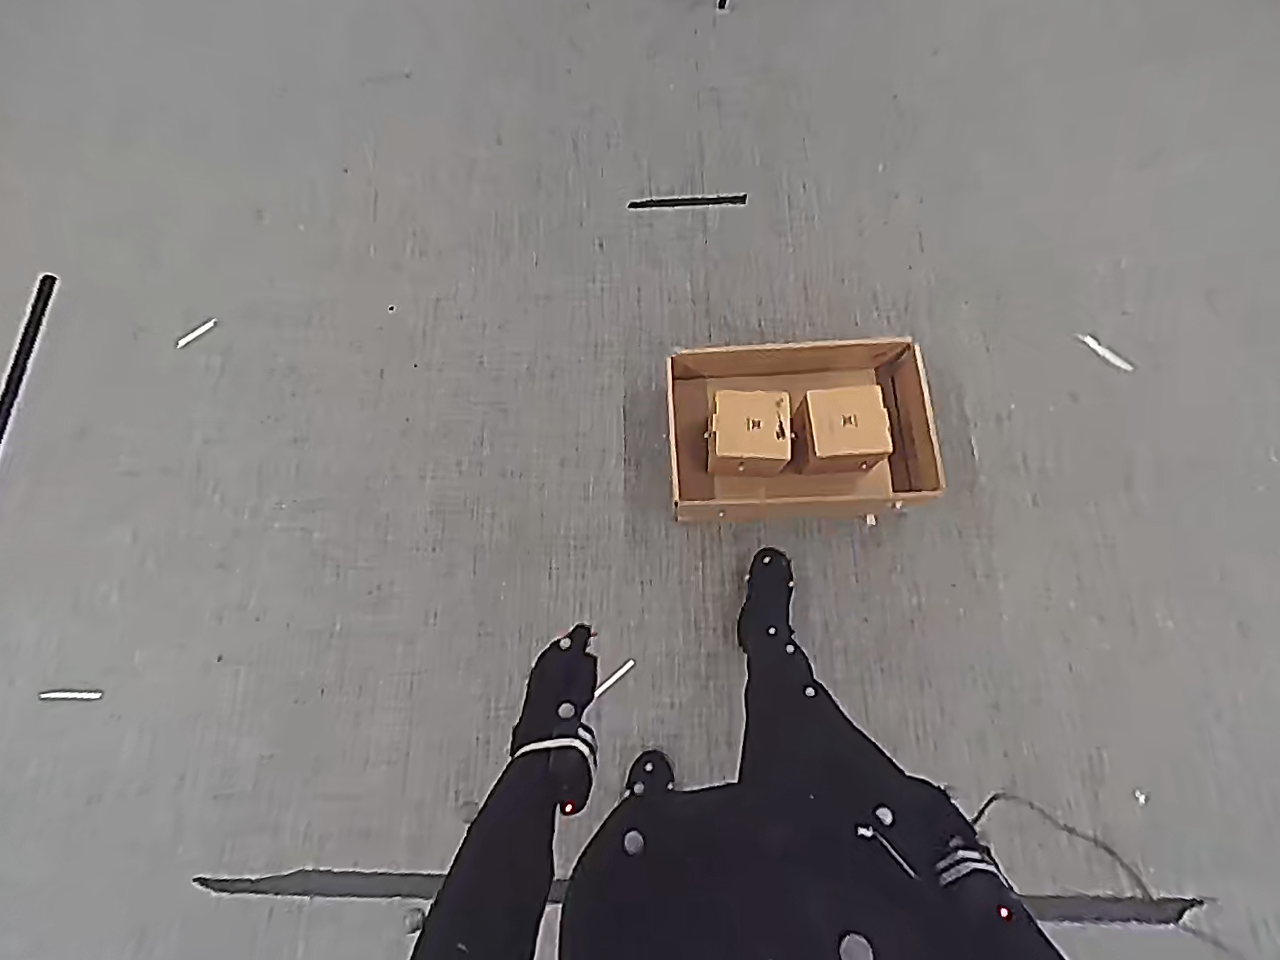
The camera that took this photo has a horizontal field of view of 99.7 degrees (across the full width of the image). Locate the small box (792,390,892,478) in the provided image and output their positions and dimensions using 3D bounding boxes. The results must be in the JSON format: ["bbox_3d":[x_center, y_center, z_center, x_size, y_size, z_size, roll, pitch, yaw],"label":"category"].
[{"bbox_3d":[0.487,-0.107,1.325,0.179,0.176,0.168,-4,74,3],"label":"small box"}]

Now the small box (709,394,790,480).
[{"bbox_3d":[0.262,-0.100,1.331,0.179,0.176,0.168,2,75,3],"label":"small box"}]
